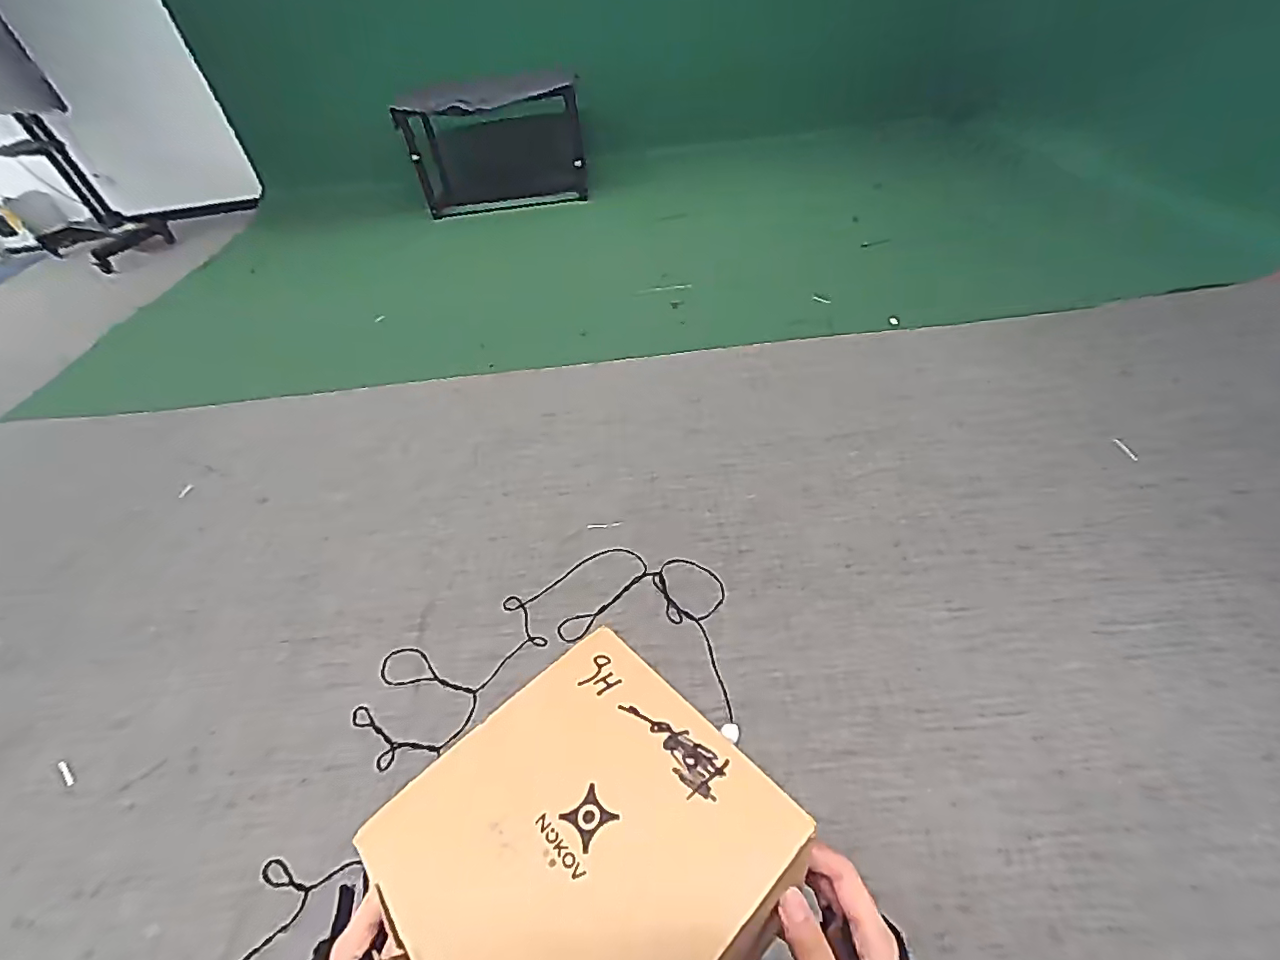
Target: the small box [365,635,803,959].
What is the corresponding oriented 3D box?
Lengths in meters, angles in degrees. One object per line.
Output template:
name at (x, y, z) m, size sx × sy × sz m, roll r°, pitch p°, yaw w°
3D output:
small box at (-0.021, 0.241, 0.328) m, size 0.179 × 0.176 × 0.168 m, roll -36°, pitch 47°, yaw -26°
